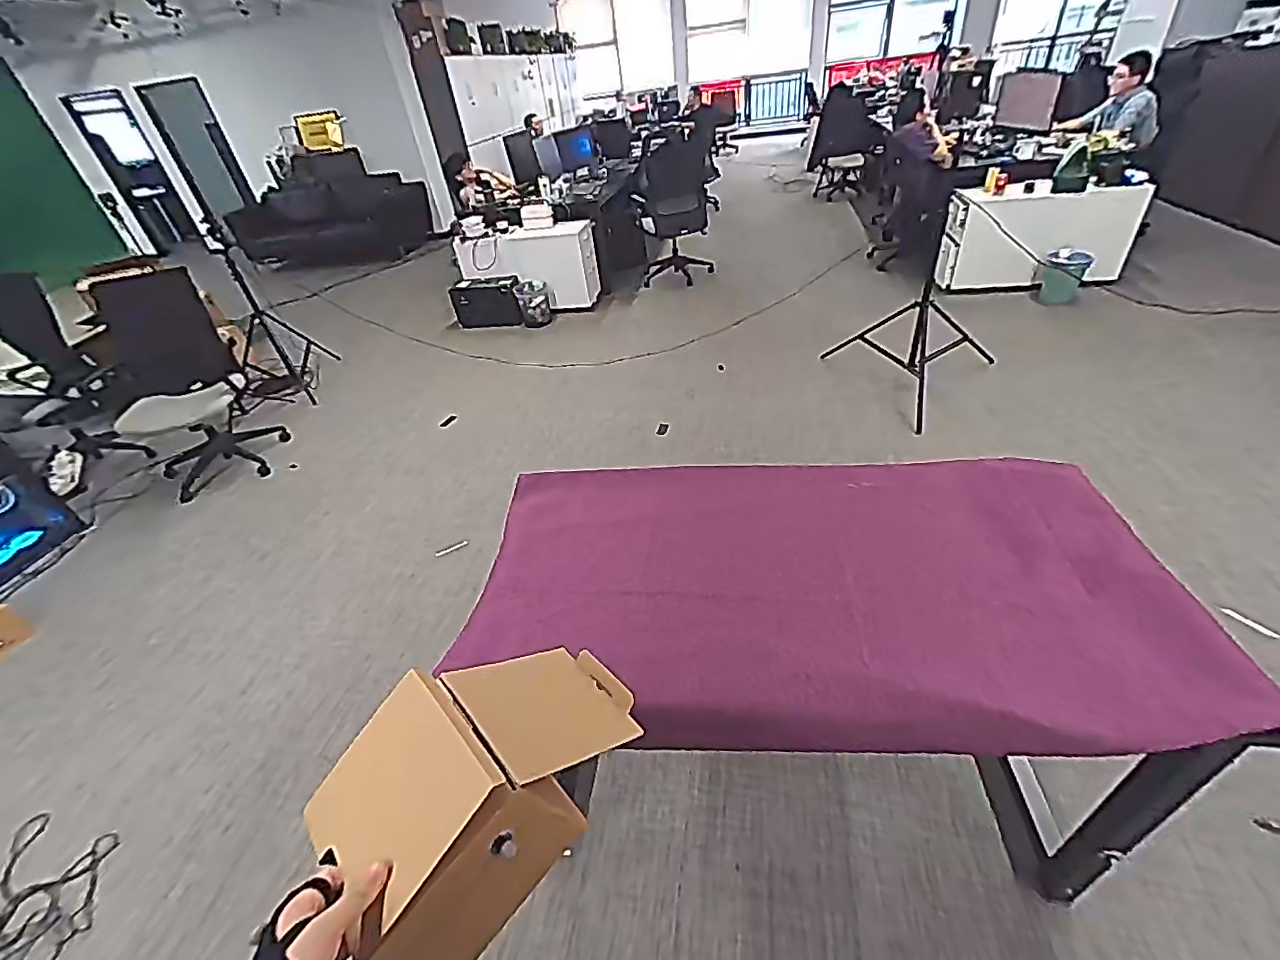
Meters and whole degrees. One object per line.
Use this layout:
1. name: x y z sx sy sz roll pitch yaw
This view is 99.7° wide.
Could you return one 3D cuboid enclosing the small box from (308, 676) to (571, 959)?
1. small box: -0.193 0.351 0.566 0.179 0.176 0.168 -44 47 -18
